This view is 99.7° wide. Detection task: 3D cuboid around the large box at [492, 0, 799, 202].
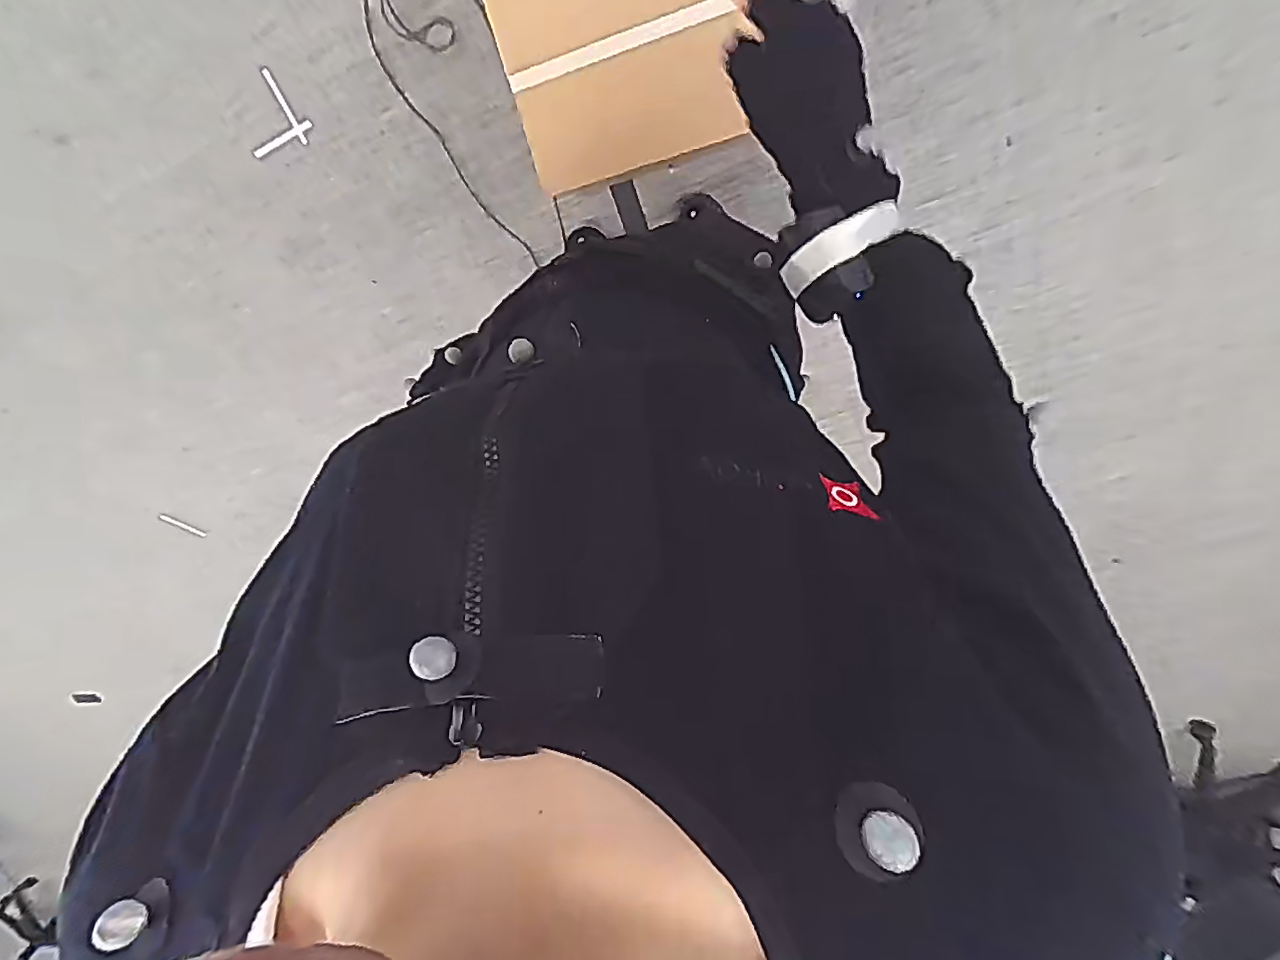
[{"bbox_3d":[0.020,-0.695,0.913,0.408,0.320,0.320,-12,117,11],"label":"large box"}]
